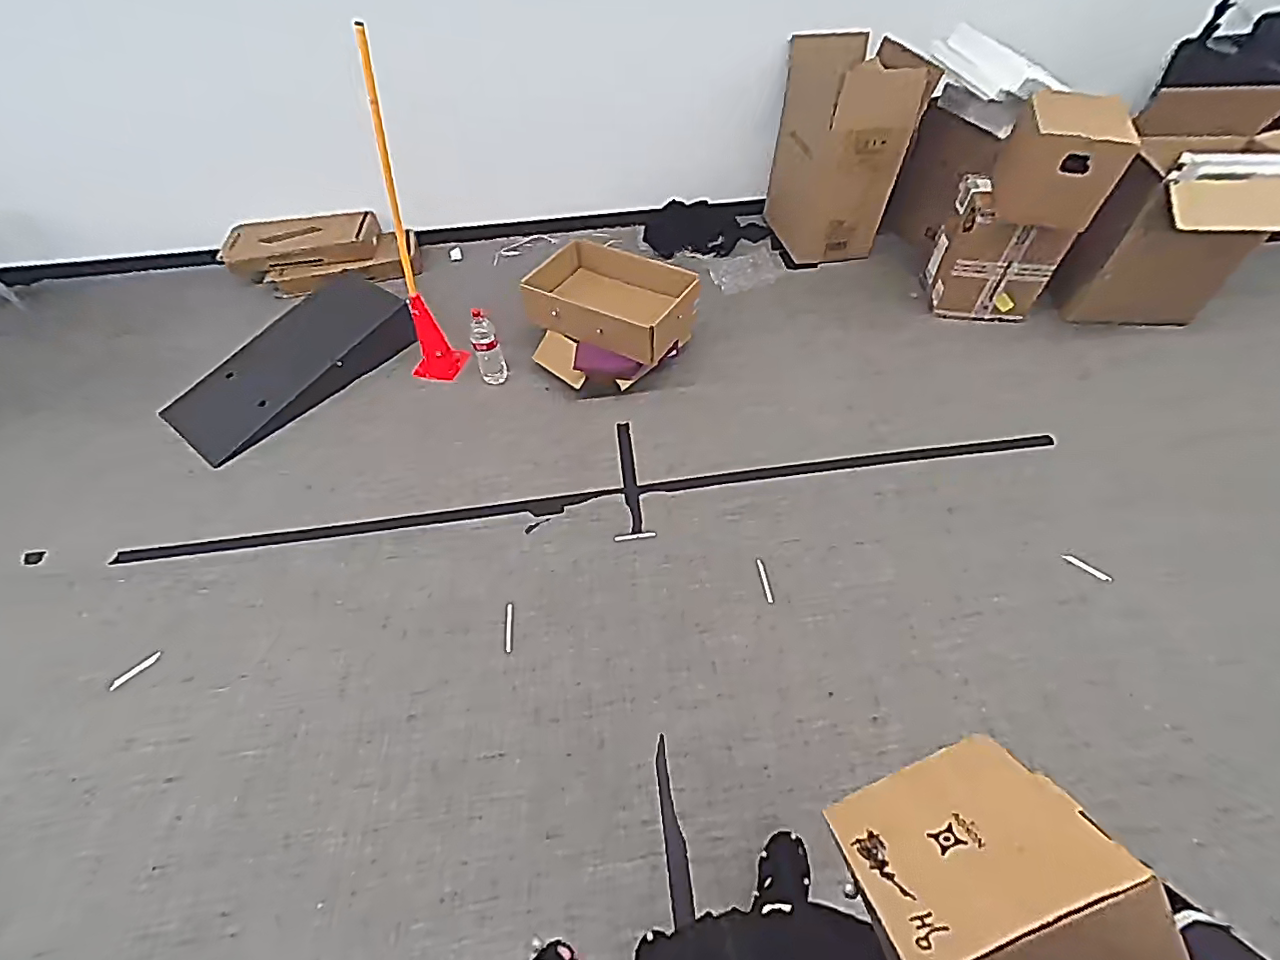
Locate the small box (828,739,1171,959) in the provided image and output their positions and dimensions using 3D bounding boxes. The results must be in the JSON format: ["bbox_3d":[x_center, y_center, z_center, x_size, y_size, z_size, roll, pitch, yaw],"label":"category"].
[{"bbox_3d":[0.295,0.368,0.454,0.179,0.168,0.176,-25,96,0],"label":"small box"}]
